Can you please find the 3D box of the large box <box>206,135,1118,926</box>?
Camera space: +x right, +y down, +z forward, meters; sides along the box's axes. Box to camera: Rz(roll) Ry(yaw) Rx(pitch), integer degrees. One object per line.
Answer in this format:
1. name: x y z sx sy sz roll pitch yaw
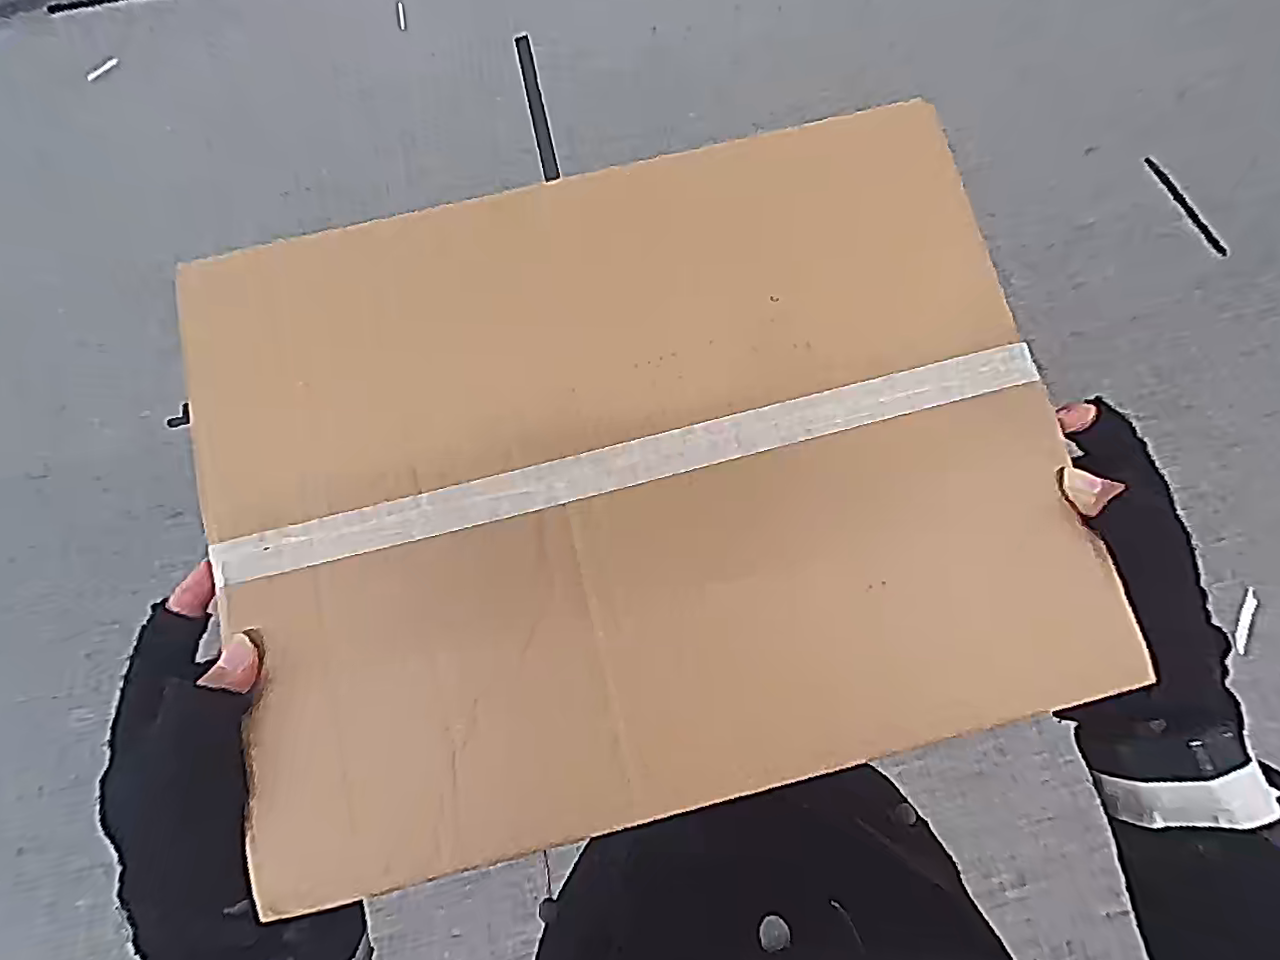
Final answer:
1. large box: 0.001 0.025 0.416 0.408 0.320 0.320 -14 80 -2
